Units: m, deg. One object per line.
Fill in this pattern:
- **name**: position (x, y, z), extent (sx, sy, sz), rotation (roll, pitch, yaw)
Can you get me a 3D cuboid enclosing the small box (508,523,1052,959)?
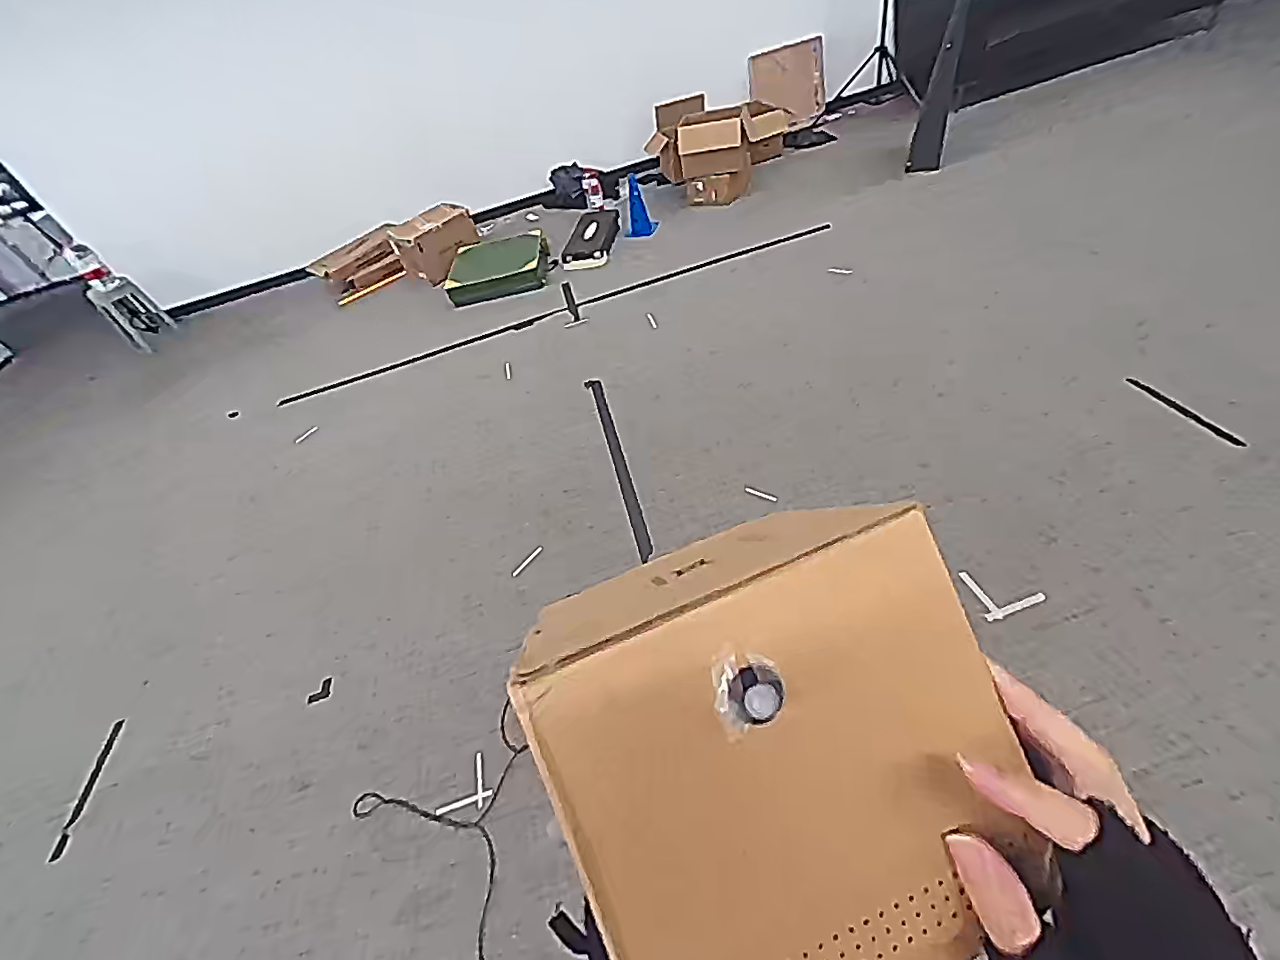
- **small box**: position (0.054, 0.133, 0.280), extent (0.179, 0.168, 0.176), rotation (-21, 88, -7)
